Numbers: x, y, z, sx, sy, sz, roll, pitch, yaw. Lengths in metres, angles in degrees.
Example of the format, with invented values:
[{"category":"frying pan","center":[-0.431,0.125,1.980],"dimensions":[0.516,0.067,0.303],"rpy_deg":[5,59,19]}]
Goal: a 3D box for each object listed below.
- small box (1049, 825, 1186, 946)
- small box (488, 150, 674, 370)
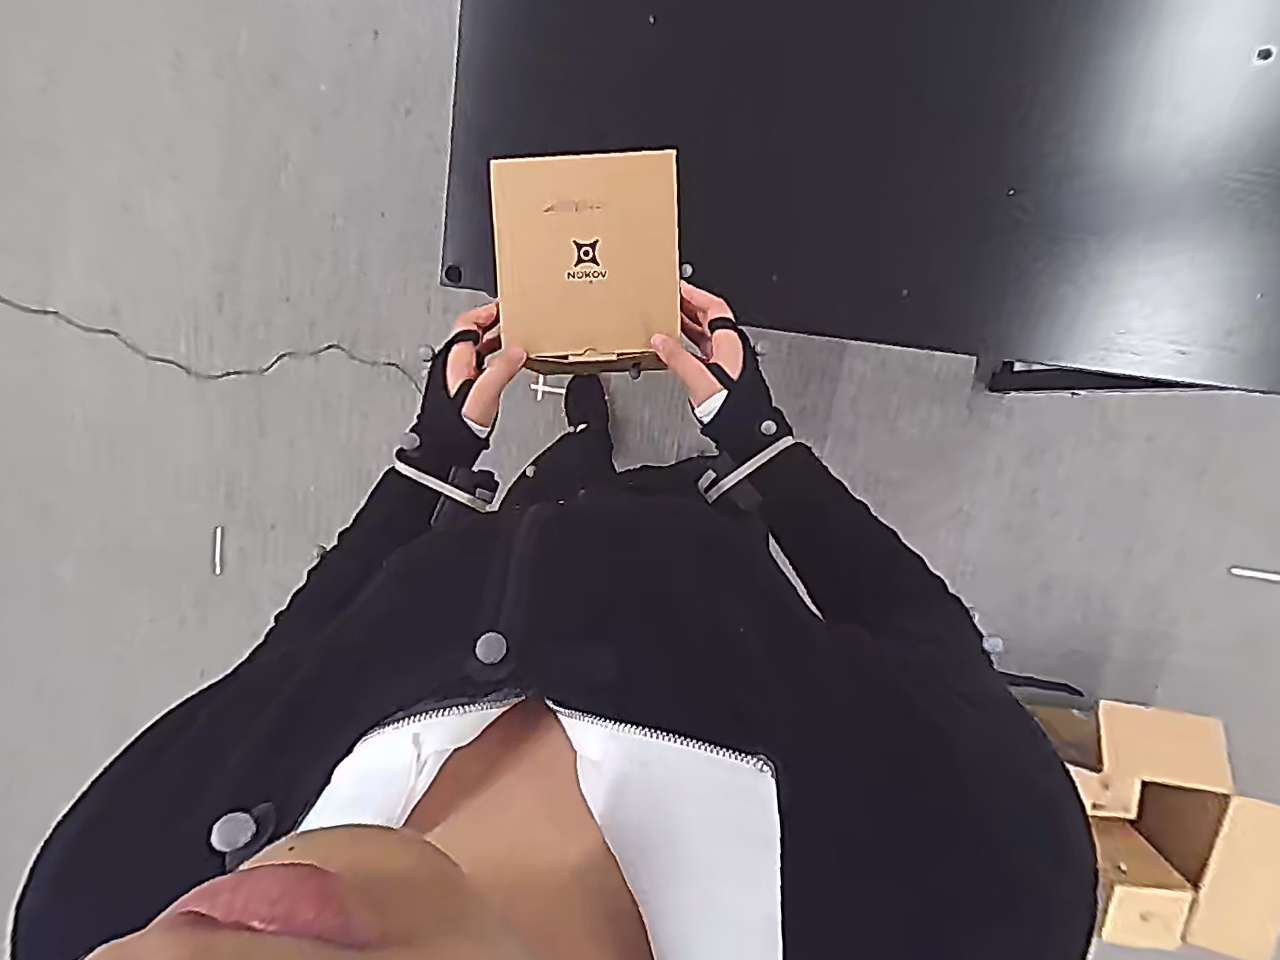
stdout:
[{"category":"small box","center":[1.148,0.977,1.317],"dimensions":[0.179,0.176,0.168],"rpy_deg":[2,102,2]},{"category":"small box","center":[-0.049,-0.208,0.562],"dimensions":[0.168,0.176,0.179],"rpy_deg":[-2,95,1]}]
